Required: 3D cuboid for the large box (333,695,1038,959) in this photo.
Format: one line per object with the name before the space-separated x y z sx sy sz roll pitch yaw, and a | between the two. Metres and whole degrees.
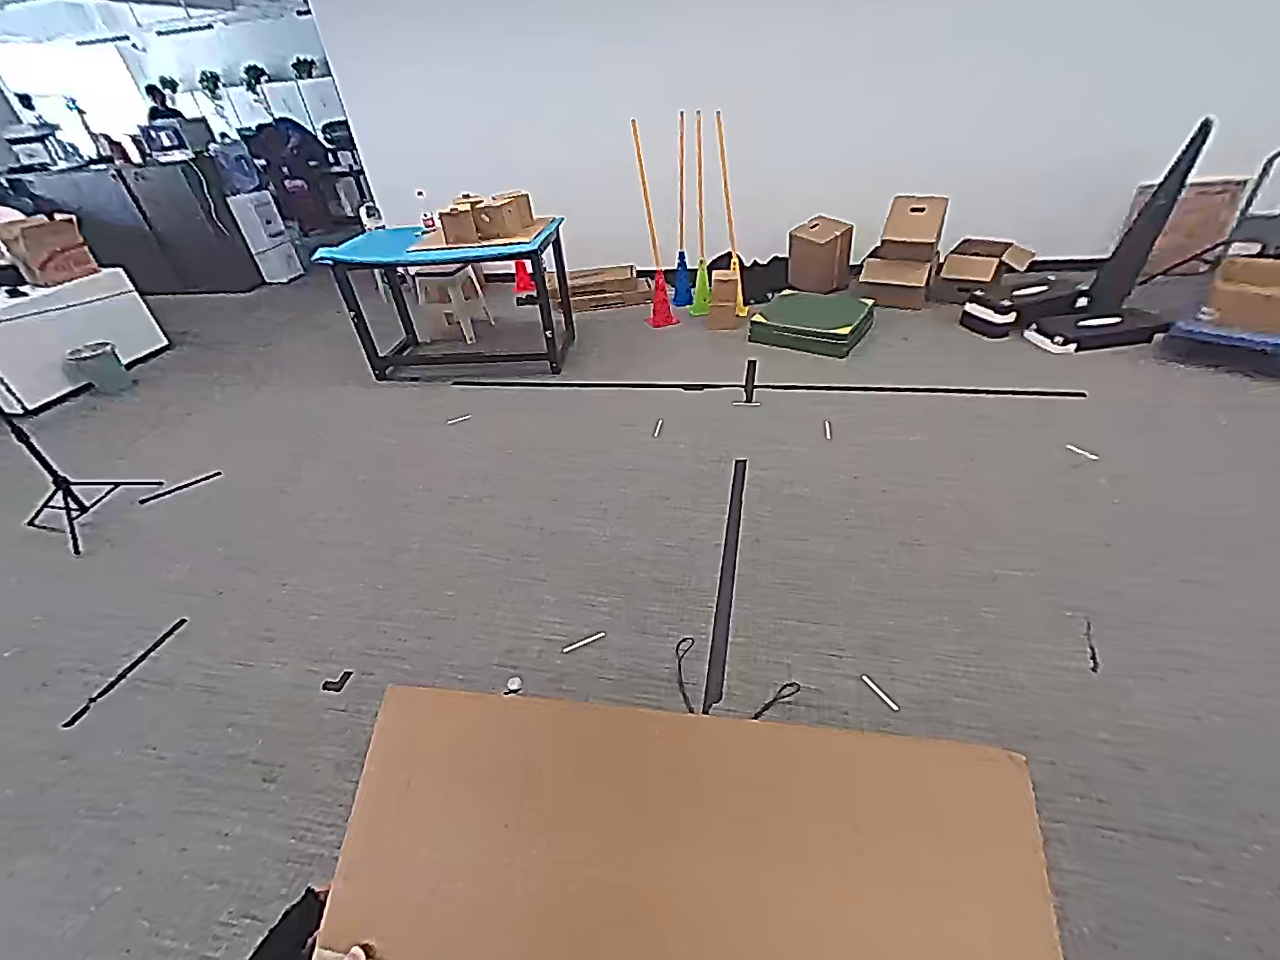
large box | 0.028 0.361 0.425 0.408 0.320 0.320 1 66 11
